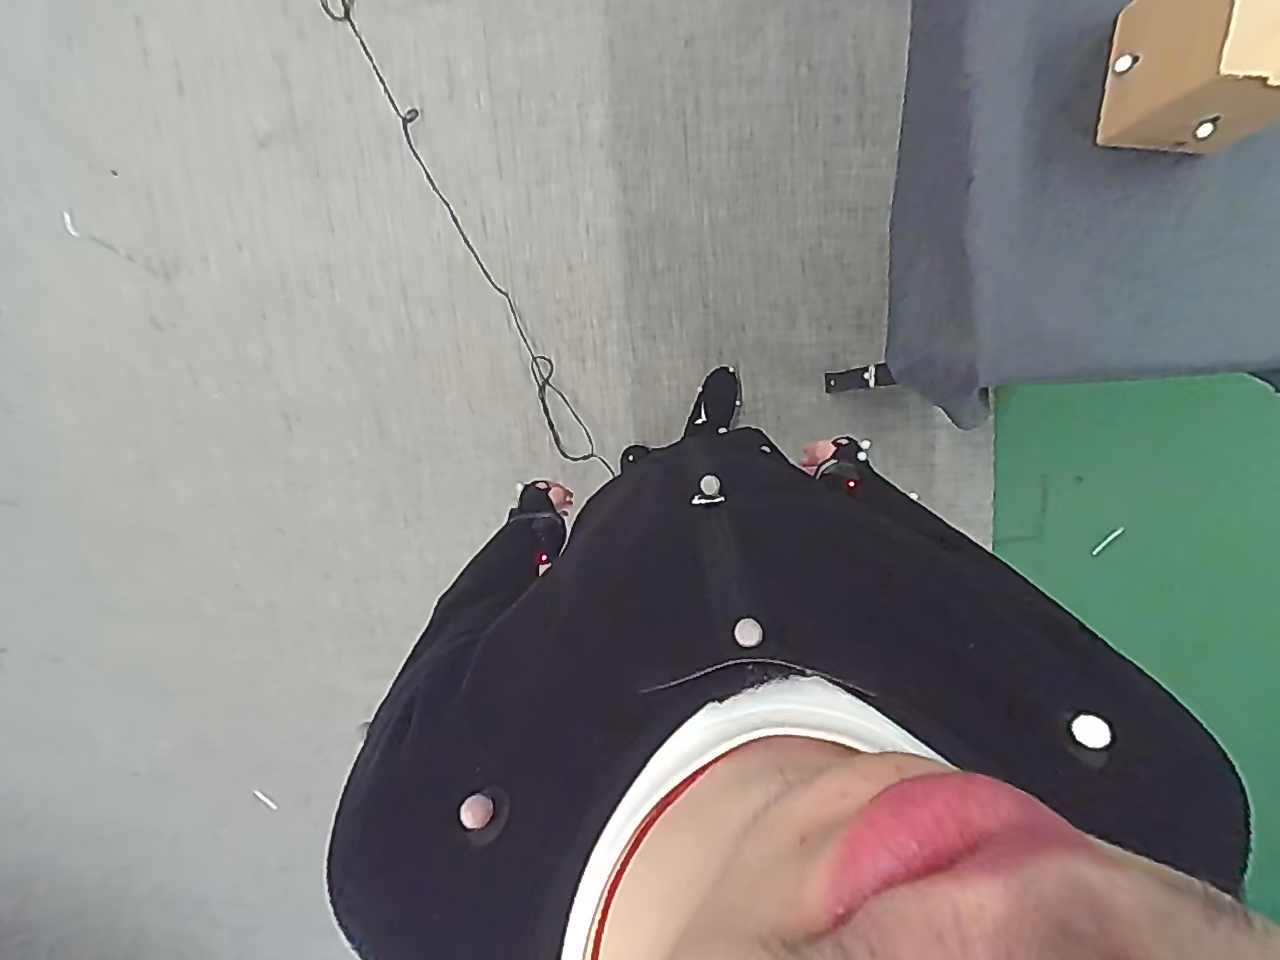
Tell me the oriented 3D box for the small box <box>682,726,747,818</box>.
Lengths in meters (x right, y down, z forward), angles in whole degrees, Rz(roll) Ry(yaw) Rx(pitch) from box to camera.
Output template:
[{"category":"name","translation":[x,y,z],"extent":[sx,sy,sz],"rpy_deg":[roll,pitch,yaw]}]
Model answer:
[{"category":"small box","translation":[0.216,0.852,1.588],"extent":[0.168,0.176,0.179],"rpy_deg":[-2,97,-2]}]

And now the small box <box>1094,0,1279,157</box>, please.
[{"category":"small box","translation":[0.735,-0.541,0.689],"extent":[0.168,0.176,0.179],"rpy_deg":[4,98,-1]}]
